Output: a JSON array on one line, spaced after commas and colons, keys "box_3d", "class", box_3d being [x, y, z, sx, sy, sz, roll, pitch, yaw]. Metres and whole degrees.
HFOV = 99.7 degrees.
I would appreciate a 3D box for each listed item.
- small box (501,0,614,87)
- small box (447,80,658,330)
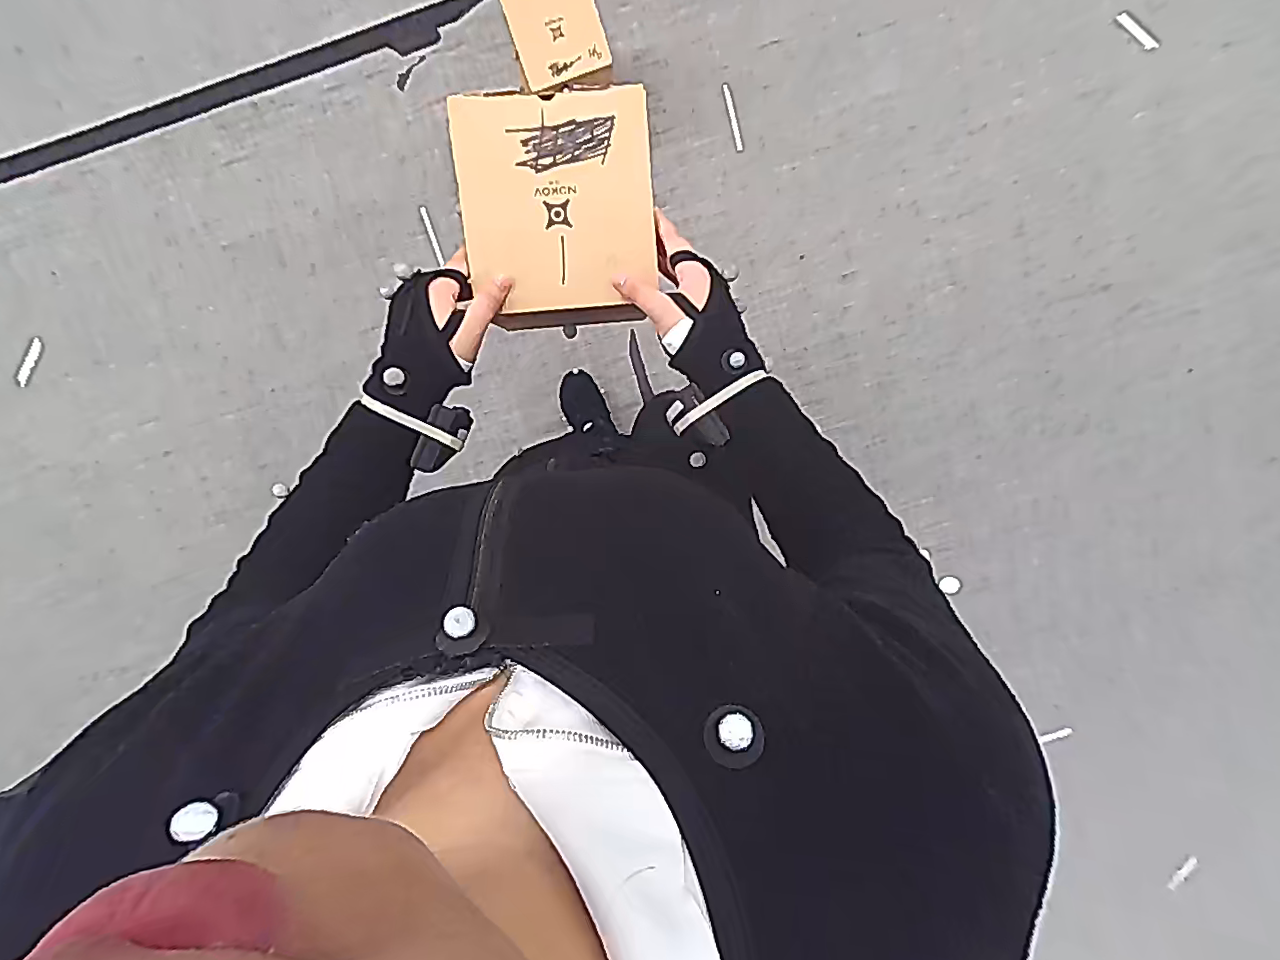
[{"box_3d": [-0.158, -0.840, 1.080, 0.168, 0.176, 0.179, -19, 100, 1], "class": "small box"}, {"box_3d": [-0.077, -0.254, 0.539, 0.168, 0.176, 0.179, -6, 100, -2], "class": "small box"}]
